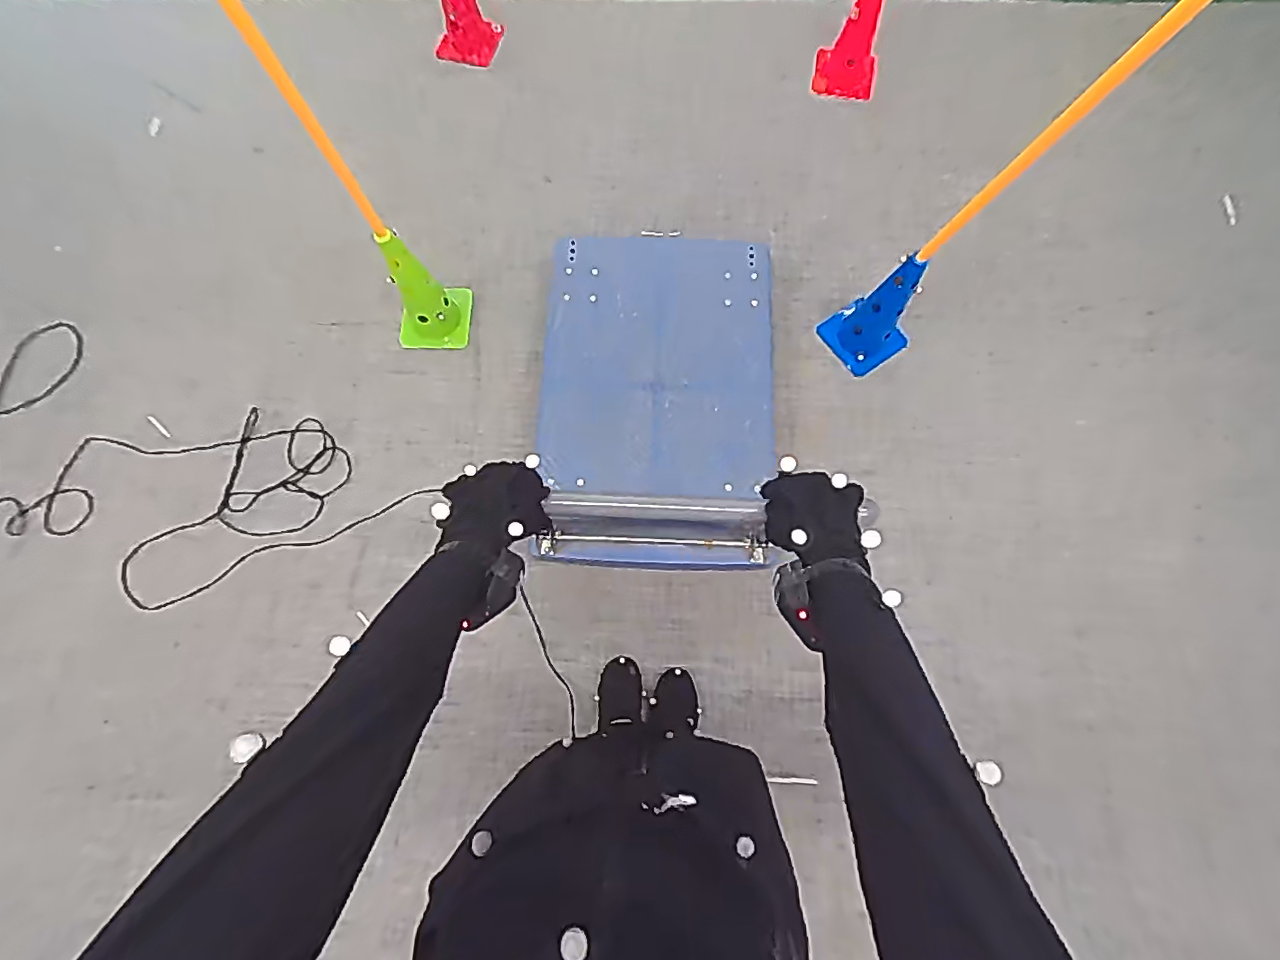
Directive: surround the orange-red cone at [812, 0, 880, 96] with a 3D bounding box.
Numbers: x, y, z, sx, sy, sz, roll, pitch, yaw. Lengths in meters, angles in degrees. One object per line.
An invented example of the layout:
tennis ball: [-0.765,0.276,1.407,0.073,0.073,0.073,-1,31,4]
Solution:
orange-red cone: [0.678,-1.412,1.643,0.198,0.360,0.199,12,77,5]
